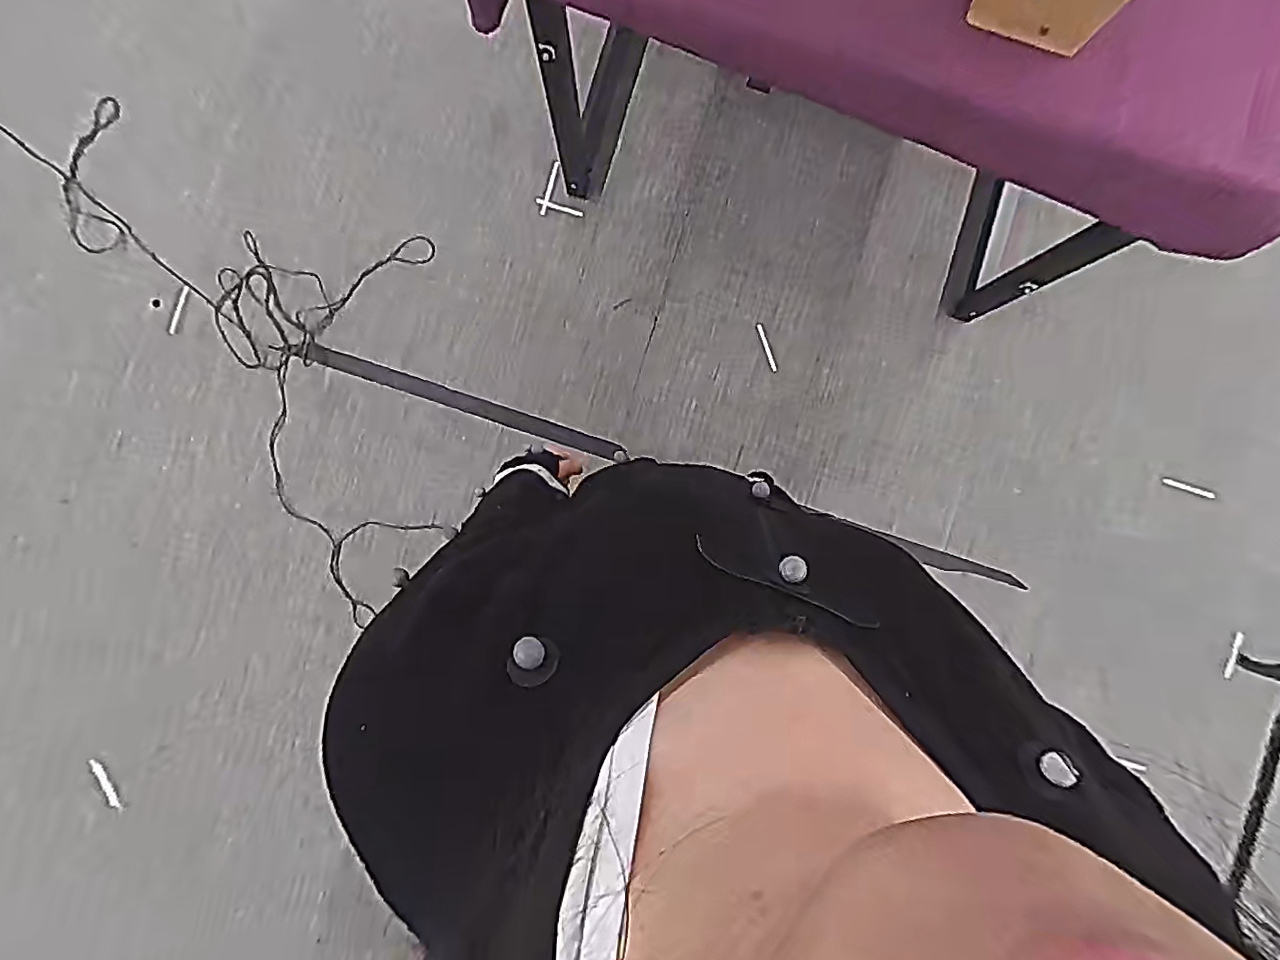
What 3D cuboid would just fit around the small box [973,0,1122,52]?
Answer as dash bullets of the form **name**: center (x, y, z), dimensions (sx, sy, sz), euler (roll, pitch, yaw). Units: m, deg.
- **small box**: center (0.583, -0.728, 0.717), dimensions (0.168, 0.176, 0.179), euler (18, 89, -1)
